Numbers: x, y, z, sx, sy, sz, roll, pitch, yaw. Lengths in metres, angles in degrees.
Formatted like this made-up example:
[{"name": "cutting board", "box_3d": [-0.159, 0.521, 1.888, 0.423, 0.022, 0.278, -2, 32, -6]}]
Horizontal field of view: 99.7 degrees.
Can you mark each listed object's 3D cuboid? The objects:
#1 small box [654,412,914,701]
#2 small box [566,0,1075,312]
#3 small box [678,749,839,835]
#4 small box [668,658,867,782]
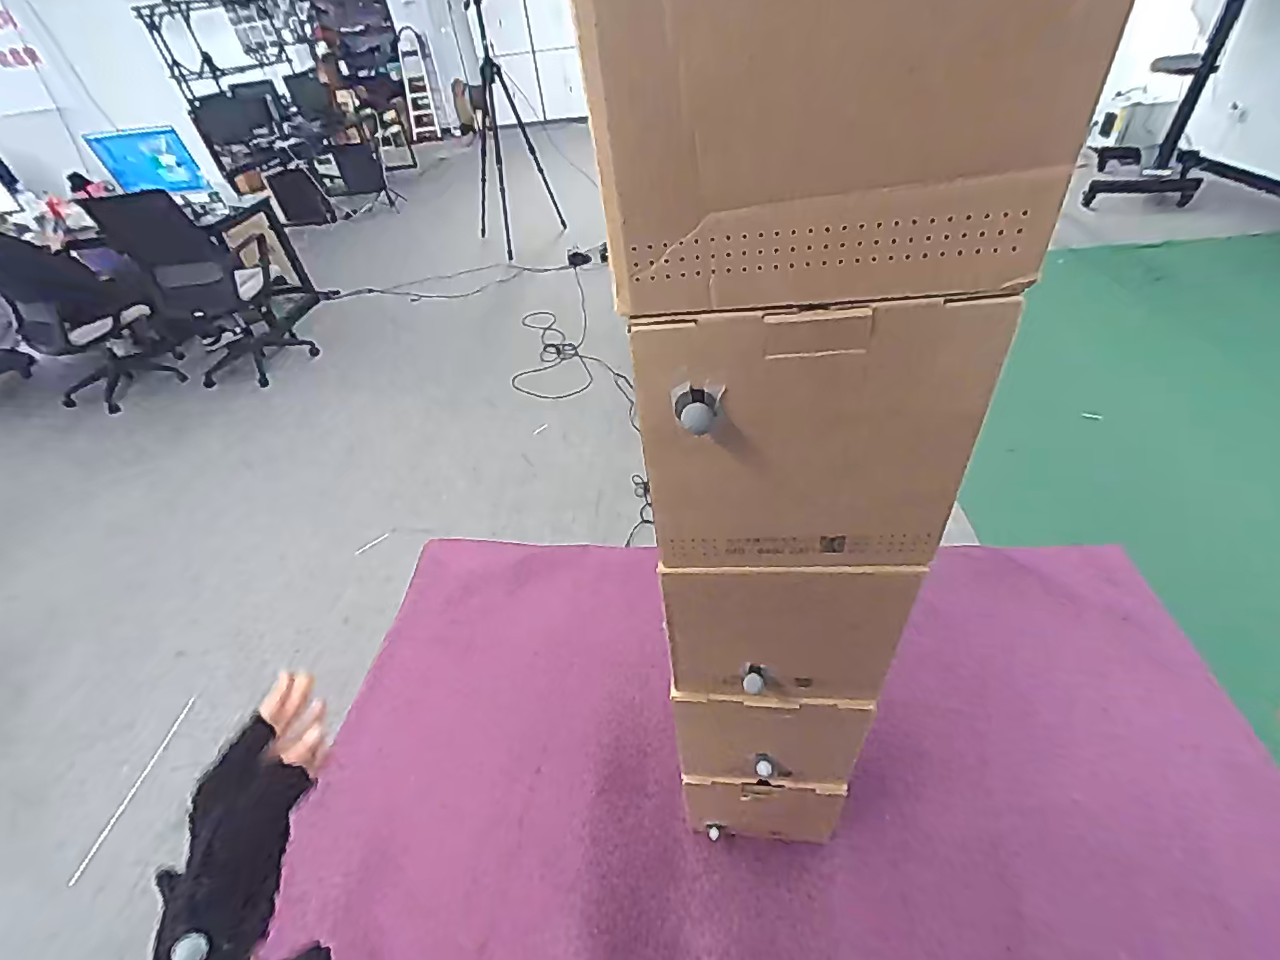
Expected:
[{"name": "small box", "box_3d": [0.106, 0.060, 0.458, 0.168, 0.176, 0.179, -1, 42, 9]}, {"name": "small box", "box_3d": [0.068, -0.187, 0.249, 0.179, 0.176, 0.168, -1, 41, 8]}, {"name": "small box", "box_3d": [0.140, 0.312, 0.665, 0.168, 0.176, 0.179, 0, 42, 9]}, {"name": "small box", "box_3d": [0.121, 0.184, 0.562, 0.168, 0.176, 0.179, -1, 42, 9]}]
